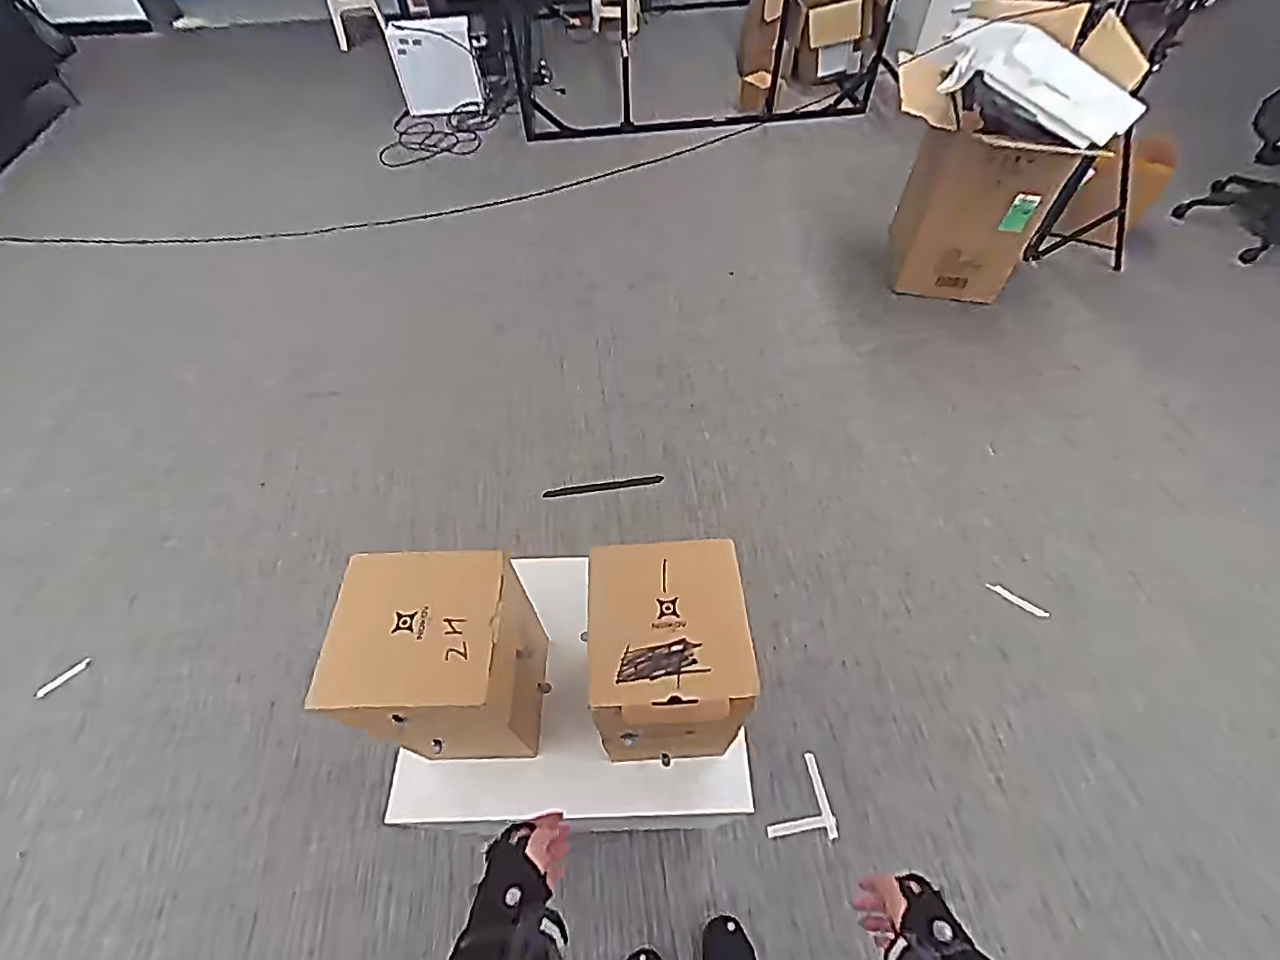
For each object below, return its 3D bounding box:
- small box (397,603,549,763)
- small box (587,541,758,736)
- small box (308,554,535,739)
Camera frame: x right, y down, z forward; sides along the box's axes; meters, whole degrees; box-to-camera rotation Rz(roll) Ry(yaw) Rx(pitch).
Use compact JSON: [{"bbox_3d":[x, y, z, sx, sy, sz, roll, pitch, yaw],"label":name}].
[{"bbox_3d":[-0.226,0.287,0.761,0.168,0.176,0.179,-1,54,1],"label":"small box"},{"bbox_3d":[0.032,0.189,0.622,0.168,0.176,0.179,-3,55,0],"label":"small box"},{"bbox_3d":[-0.230,0.197,0.623,0.179,0.176,0.168,-1,56,0],"label":"small box"}]
